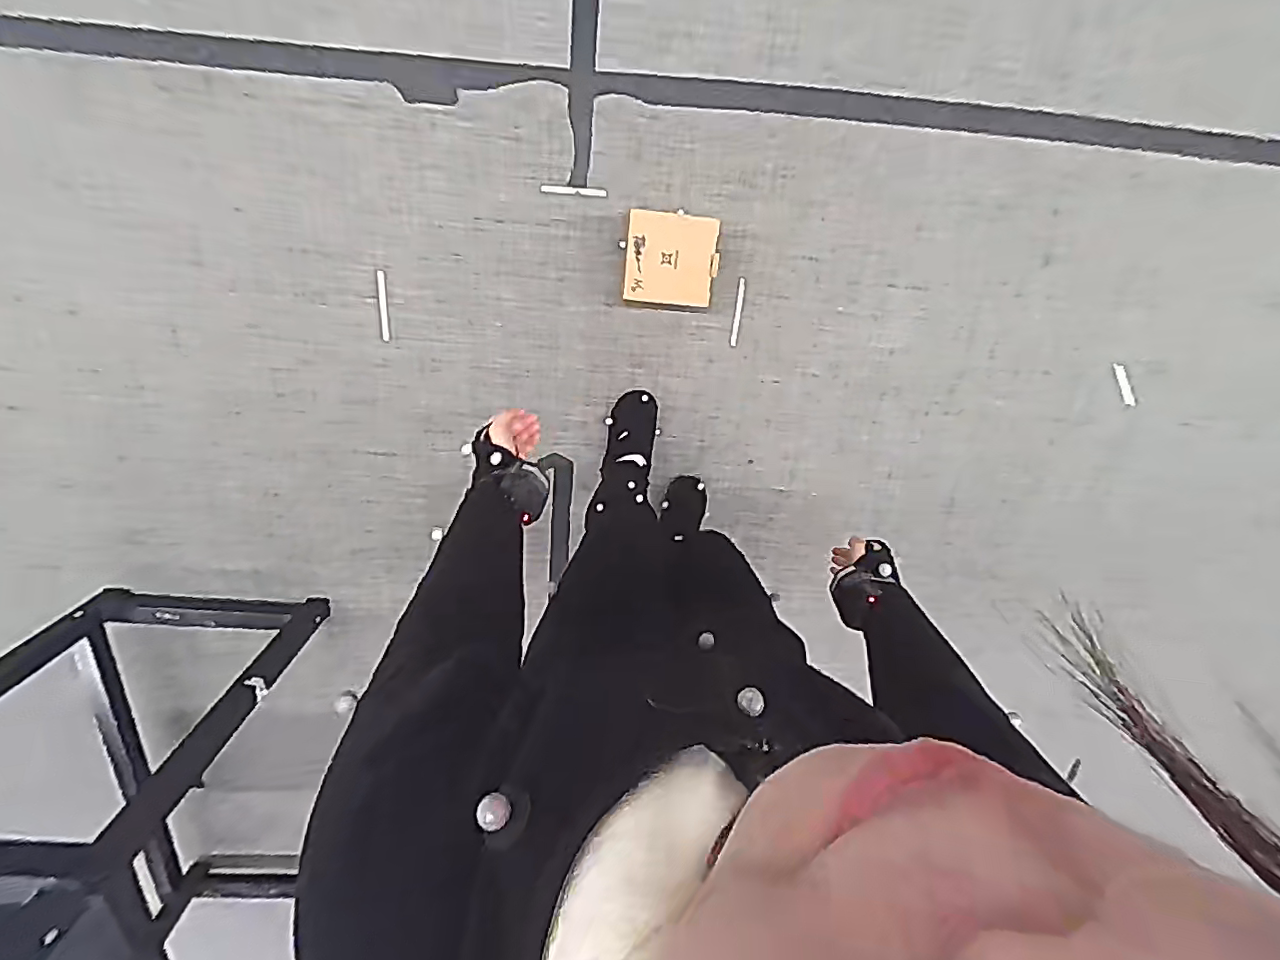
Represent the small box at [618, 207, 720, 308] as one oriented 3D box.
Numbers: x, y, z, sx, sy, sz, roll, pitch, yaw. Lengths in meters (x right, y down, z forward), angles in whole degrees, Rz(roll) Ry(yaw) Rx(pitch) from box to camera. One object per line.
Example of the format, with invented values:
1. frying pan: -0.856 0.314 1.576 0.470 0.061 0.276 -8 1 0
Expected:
1. small box: 0.051 -0.458 1.116 0.179 0.176 0.168 5 112 -6
